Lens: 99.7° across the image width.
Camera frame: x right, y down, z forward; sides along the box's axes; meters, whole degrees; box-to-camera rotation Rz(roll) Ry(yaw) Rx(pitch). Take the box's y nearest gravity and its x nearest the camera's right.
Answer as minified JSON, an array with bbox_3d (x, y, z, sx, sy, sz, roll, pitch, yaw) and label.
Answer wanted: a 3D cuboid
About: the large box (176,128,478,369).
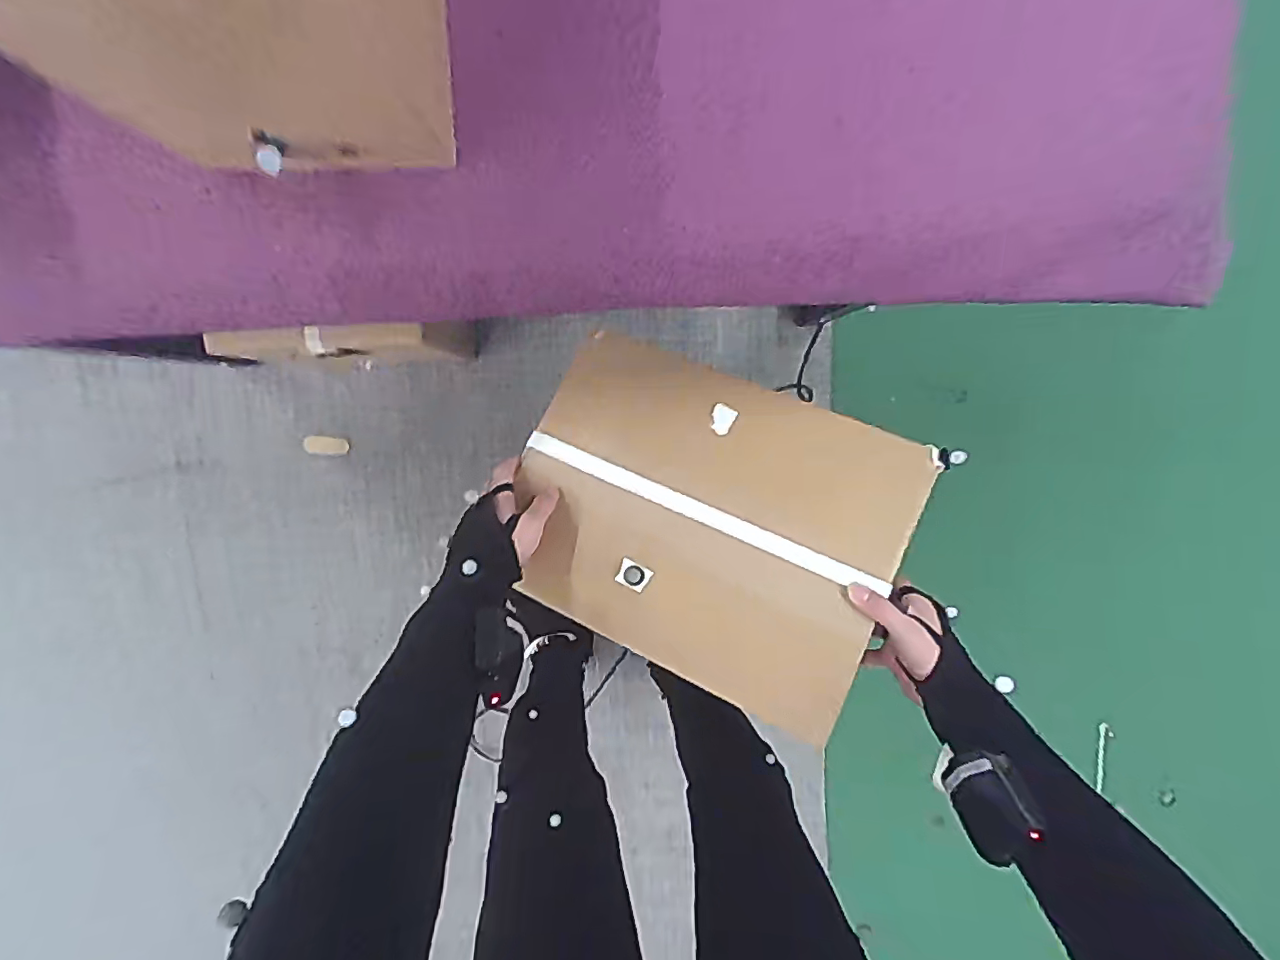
[{"bbox_3d":[-0.480,-0.408,0.900,0.320,0.320,0.408,-3,97,-2],"label":"large box"}]

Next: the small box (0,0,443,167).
[{"bbox_3d":[-0.206,-0.280,0.258,0.168,0.176,0.179,-1,97,-1],"label":"small box"}]
